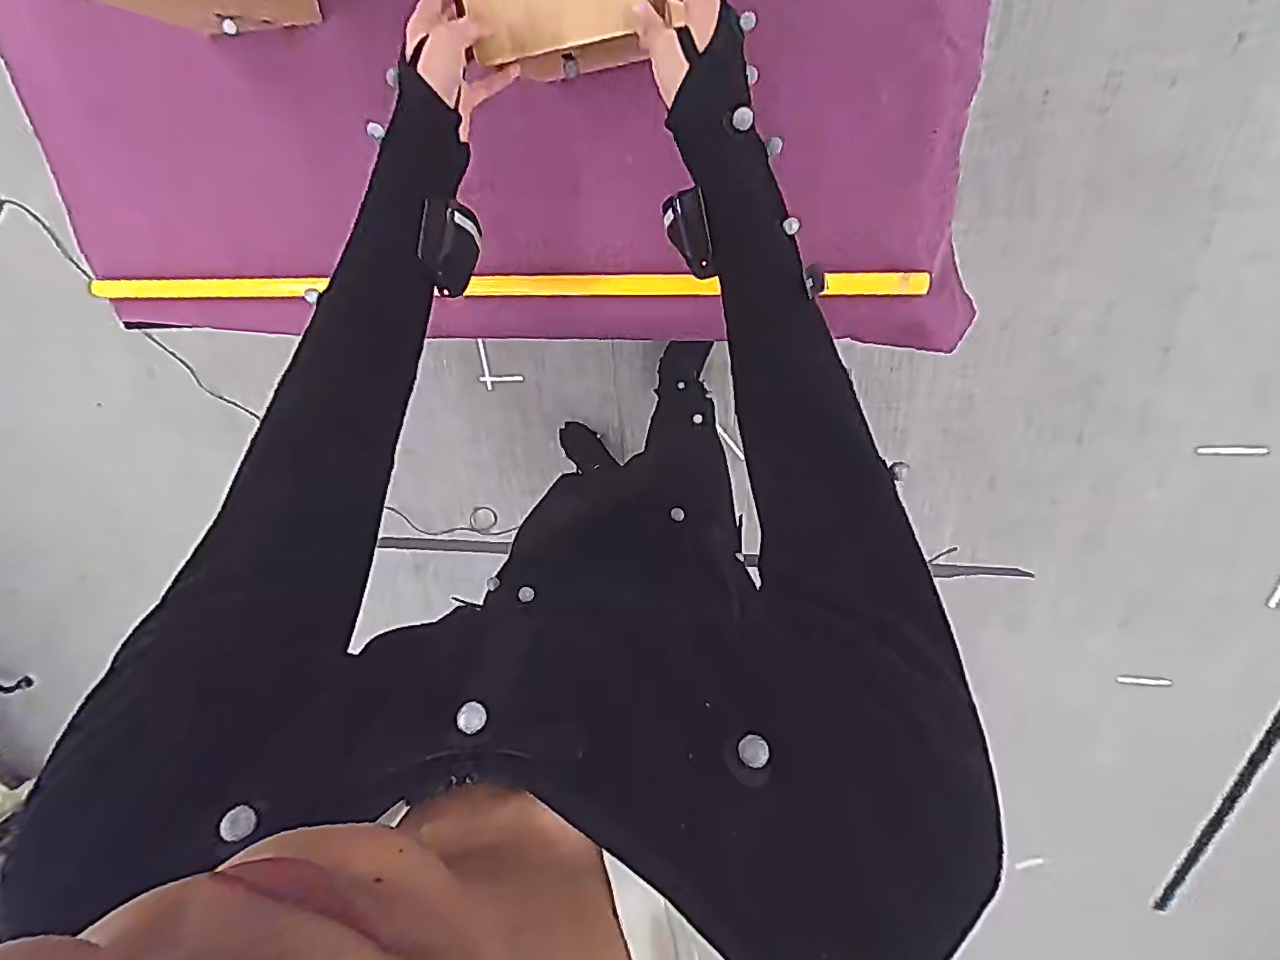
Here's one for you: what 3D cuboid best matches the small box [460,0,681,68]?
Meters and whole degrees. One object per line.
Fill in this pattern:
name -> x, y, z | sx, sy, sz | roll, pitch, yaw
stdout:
small box -> -0.062, -0.495, 0.492 | 0.179, 0.176, 0.168 | 1, 123, 16

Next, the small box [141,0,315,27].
small box -> -0.477, -0.599, 0.549 | 0.168, 0.176, 0.179 | 2, 119, 9
